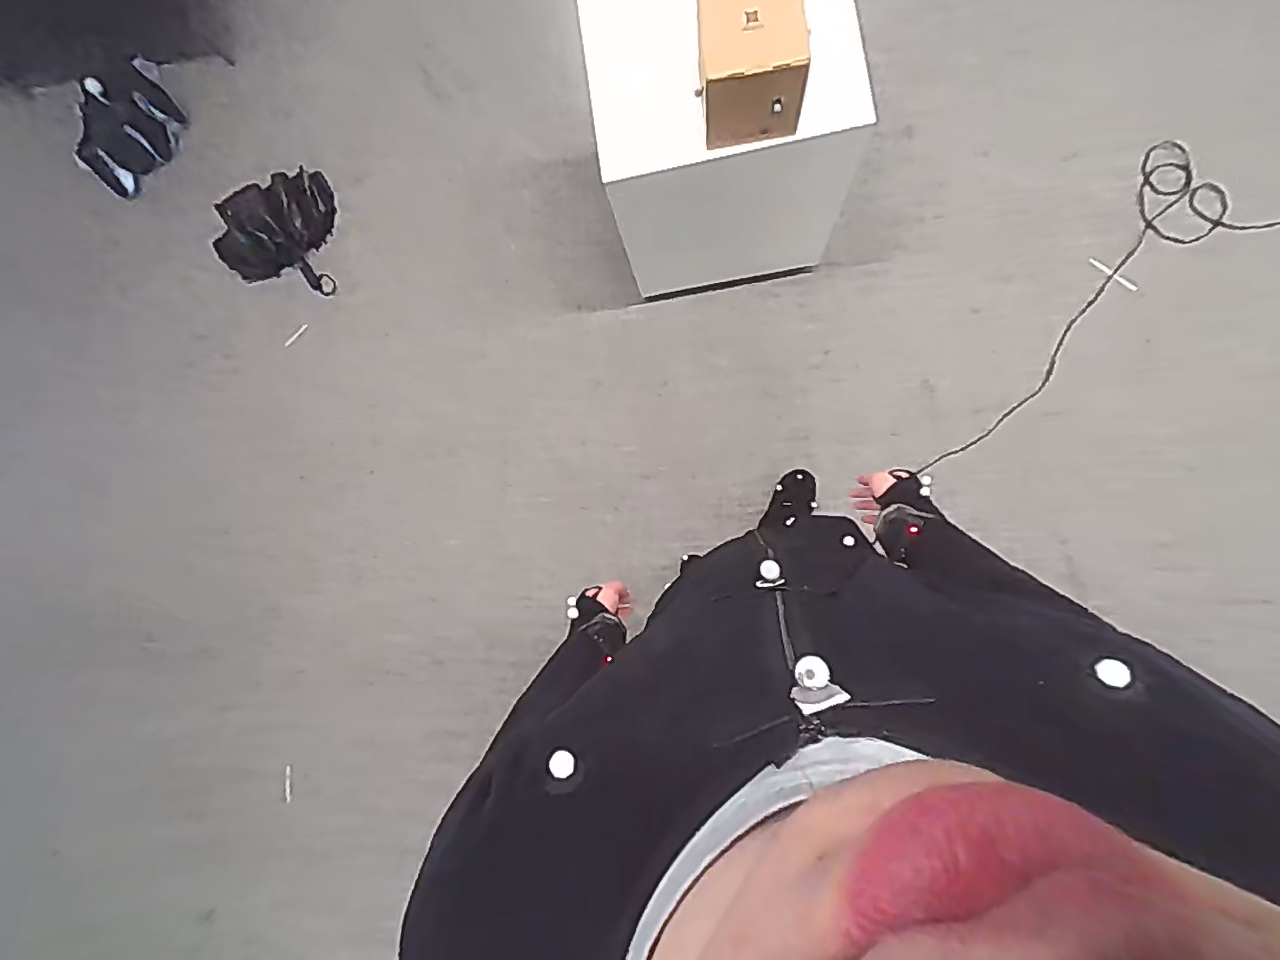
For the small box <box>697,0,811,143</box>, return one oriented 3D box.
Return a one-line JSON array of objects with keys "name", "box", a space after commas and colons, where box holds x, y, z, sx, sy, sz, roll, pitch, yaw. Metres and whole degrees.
[{"name": "small box", "box": [0.189, -0.714, 0.928, 0.168, 0.176, 0.179, -6, 84, 6]}]
